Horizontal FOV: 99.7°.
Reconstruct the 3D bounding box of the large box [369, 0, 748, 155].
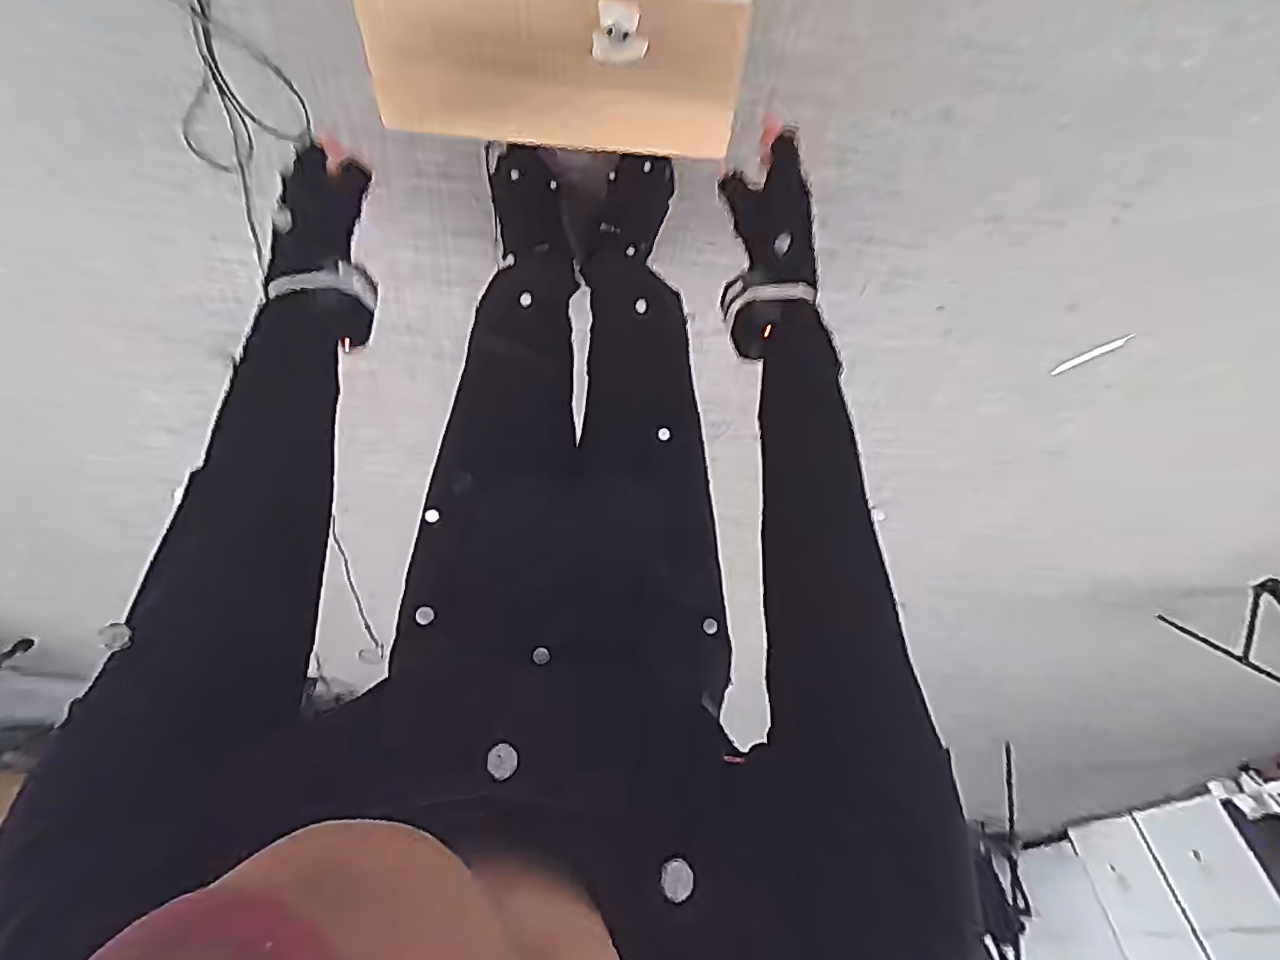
[{"bbox_3d":[-0.090,-0.621,0.658,0.408,0.320,0.320,1,136,-5],"label":"large box"}]
